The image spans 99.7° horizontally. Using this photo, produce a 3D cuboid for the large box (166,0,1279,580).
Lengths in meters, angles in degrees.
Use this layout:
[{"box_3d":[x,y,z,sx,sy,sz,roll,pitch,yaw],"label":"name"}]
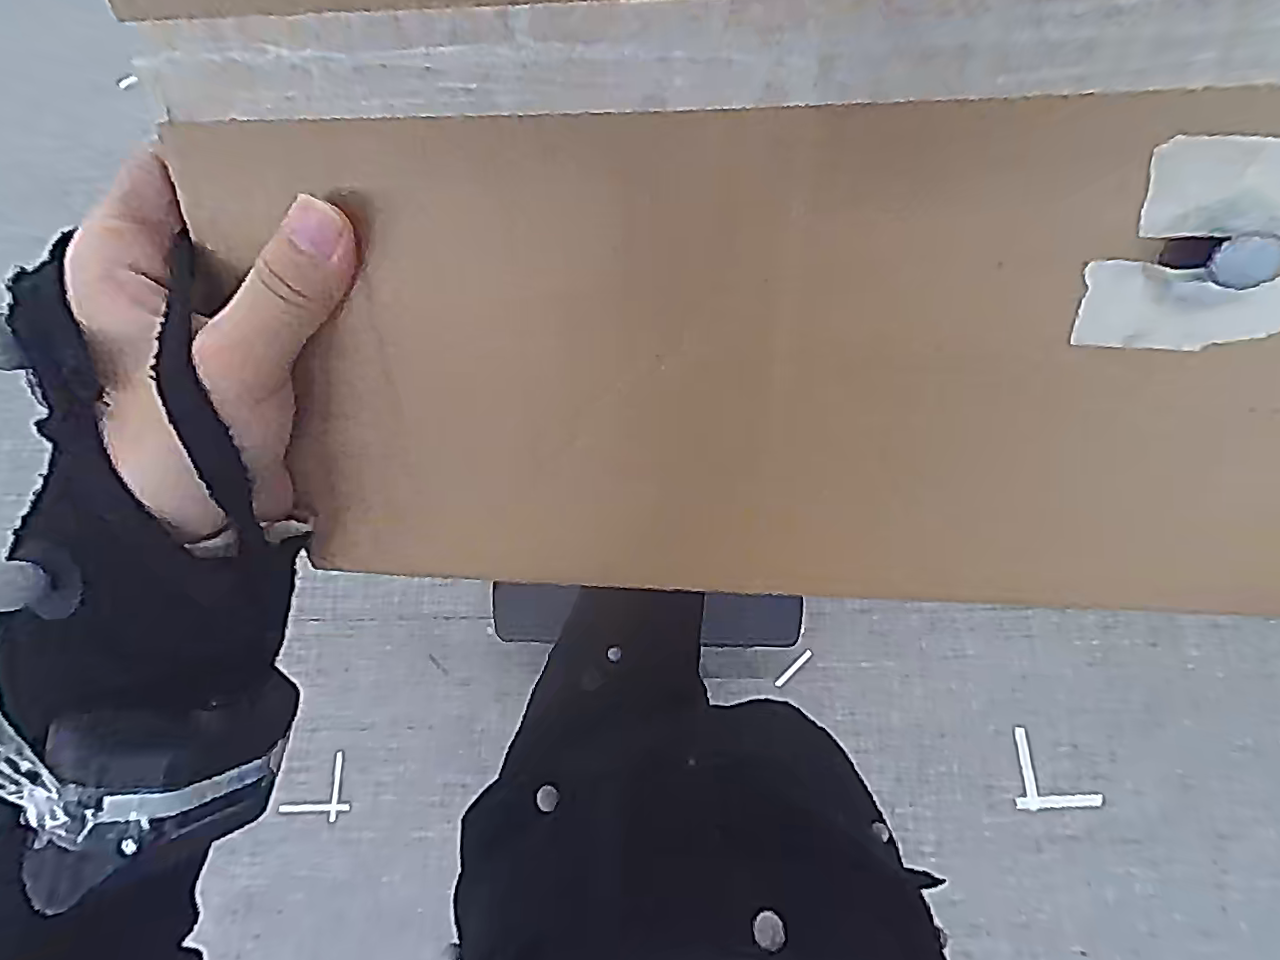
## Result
[{"box_3d":[0.084,-0.167,0.268,0.408,0.320,0.320,1,117,4],"label":"large box"}]
